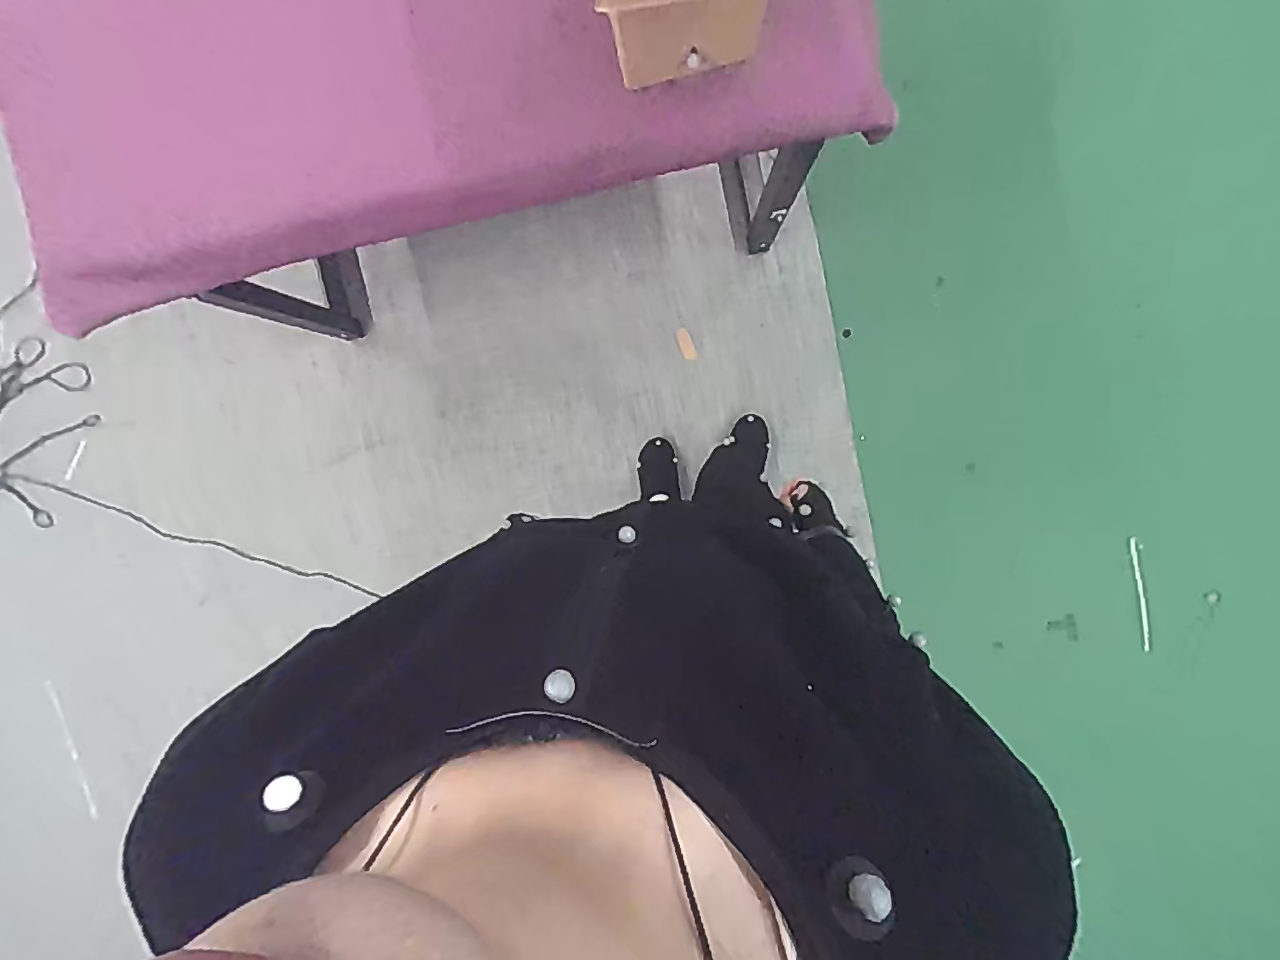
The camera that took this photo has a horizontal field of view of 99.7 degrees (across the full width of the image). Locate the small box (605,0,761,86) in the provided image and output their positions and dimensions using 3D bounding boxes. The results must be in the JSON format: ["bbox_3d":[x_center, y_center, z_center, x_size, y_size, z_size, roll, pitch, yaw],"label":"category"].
[{"bbox_3d":[0.042,-0.604,0.621,0.179,0.176,0.168,-12,92,5],"label":"small box"}]
